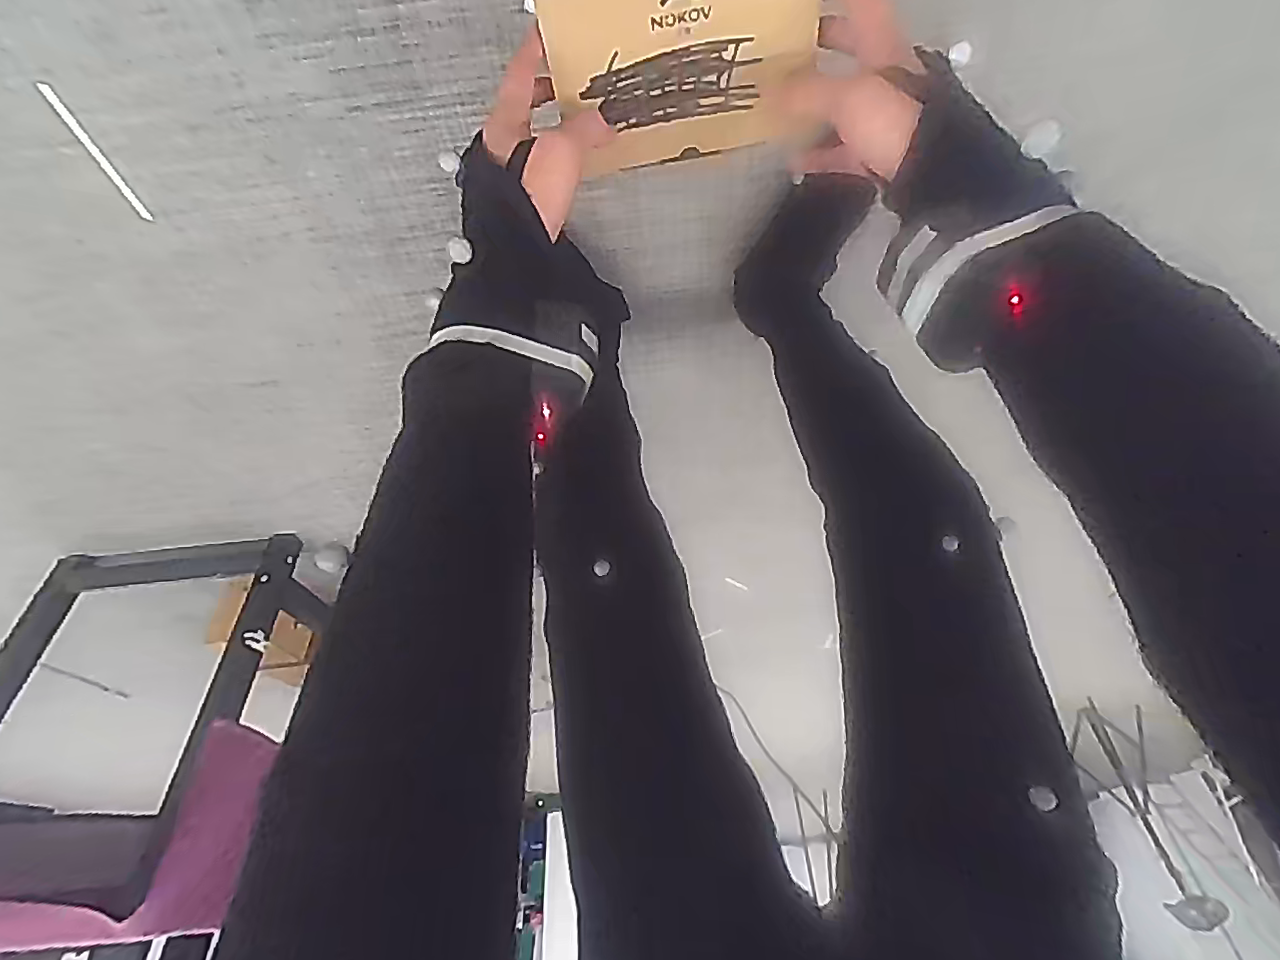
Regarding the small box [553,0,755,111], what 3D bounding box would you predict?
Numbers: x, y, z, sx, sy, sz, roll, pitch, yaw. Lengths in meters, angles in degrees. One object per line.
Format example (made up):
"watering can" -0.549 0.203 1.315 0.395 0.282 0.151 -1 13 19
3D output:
"small box" 0.002 -0.460 0.466 0.168 0.176 0.179 -8 143 4
